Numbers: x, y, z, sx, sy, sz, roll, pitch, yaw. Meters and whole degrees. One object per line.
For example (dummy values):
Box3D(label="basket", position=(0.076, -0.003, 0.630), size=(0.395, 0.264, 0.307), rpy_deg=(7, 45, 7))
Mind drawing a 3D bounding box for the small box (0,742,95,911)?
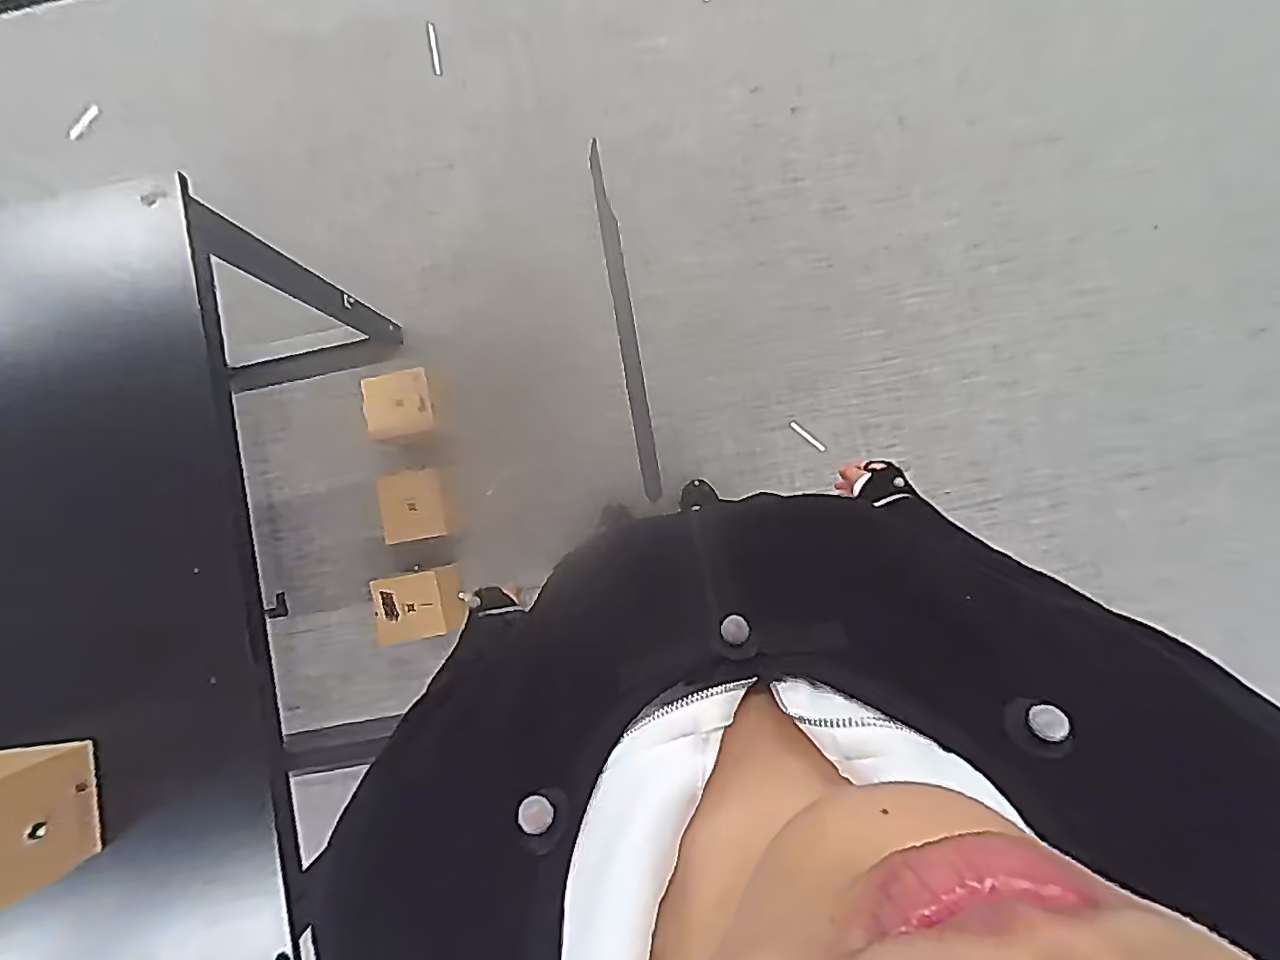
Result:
Box3D(label="small box", position=(-0.897, 0.476, 0.733), size=(0.179, 0.176, 0.168), rpy_deg=(-7, 87, 3))

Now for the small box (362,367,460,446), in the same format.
Box3D(label="small box", position=(-0.615, -0.193, 1.468), size=(0.179, 0.176, 0.168), rpy_deg=(-11, 89, 3))

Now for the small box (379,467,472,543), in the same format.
Box3D(label="small box", position=(-0.573, 0.067, 1.460), size=(0.168, 0.176, 0.179), rpy_deg=(-11, 88, 3))

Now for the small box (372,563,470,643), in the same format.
Box3D(label="small box", position=(-0.582, 0.324, 1.451), size=(0.179, 0.176, 0.168), rpy_deg=(-11, 88, 2))
